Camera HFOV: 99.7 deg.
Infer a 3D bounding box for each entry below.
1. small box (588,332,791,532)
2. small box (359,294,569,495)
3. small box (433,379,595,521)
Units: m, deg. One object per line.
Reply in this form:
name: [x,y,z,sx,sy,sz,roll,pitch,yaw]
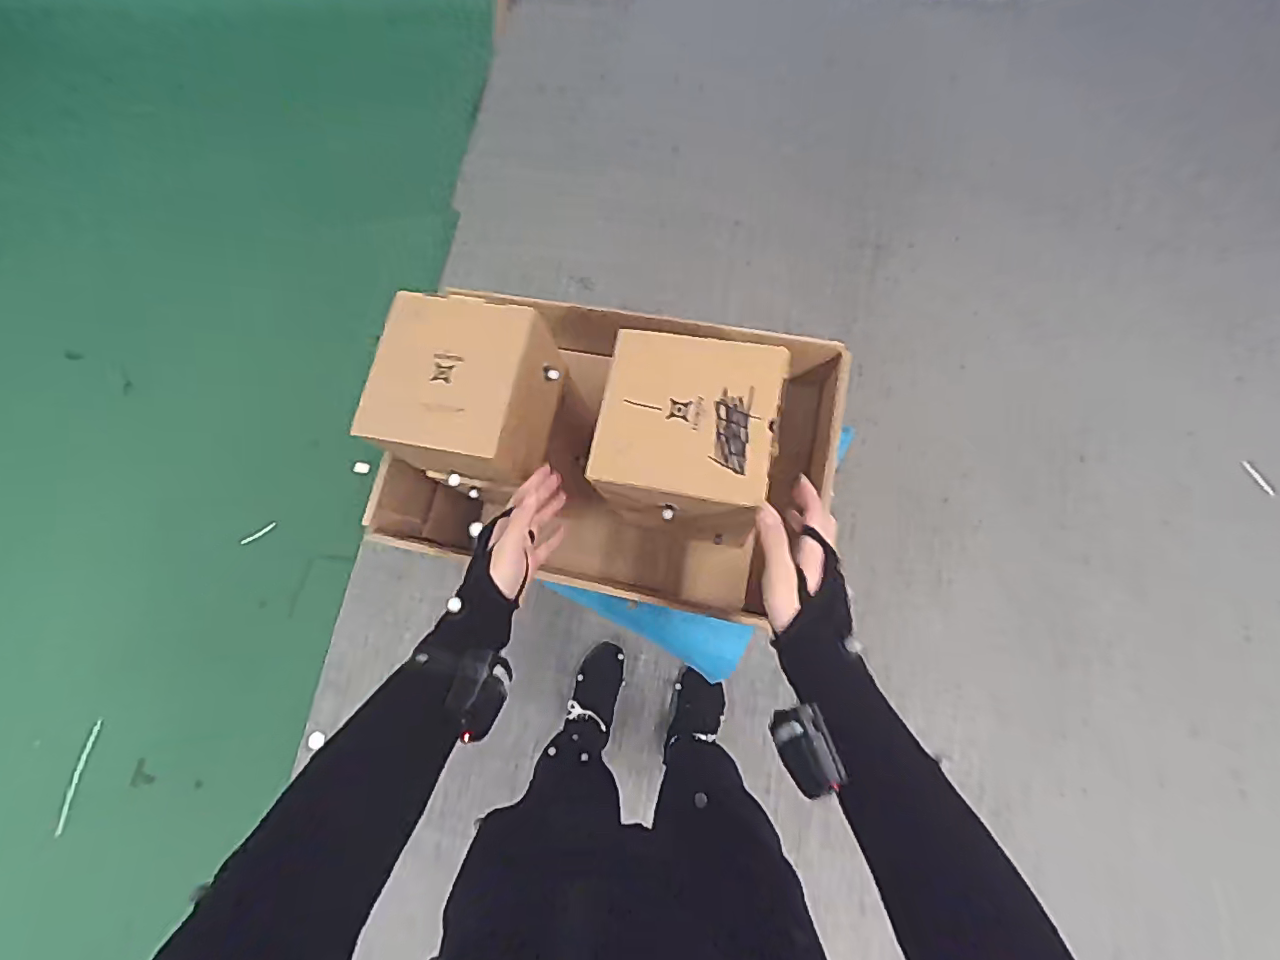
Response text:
small box: [0.060,-0.043,0.610,0.179,0.176,0.168,10,77,11]
small box: [-0.195,-0.095,0.659,0.168,0.176,0.179,11,78,10]
small box: [-0.175,-0.050,0.815,0.168,0.176,0.179,11,77,10]
